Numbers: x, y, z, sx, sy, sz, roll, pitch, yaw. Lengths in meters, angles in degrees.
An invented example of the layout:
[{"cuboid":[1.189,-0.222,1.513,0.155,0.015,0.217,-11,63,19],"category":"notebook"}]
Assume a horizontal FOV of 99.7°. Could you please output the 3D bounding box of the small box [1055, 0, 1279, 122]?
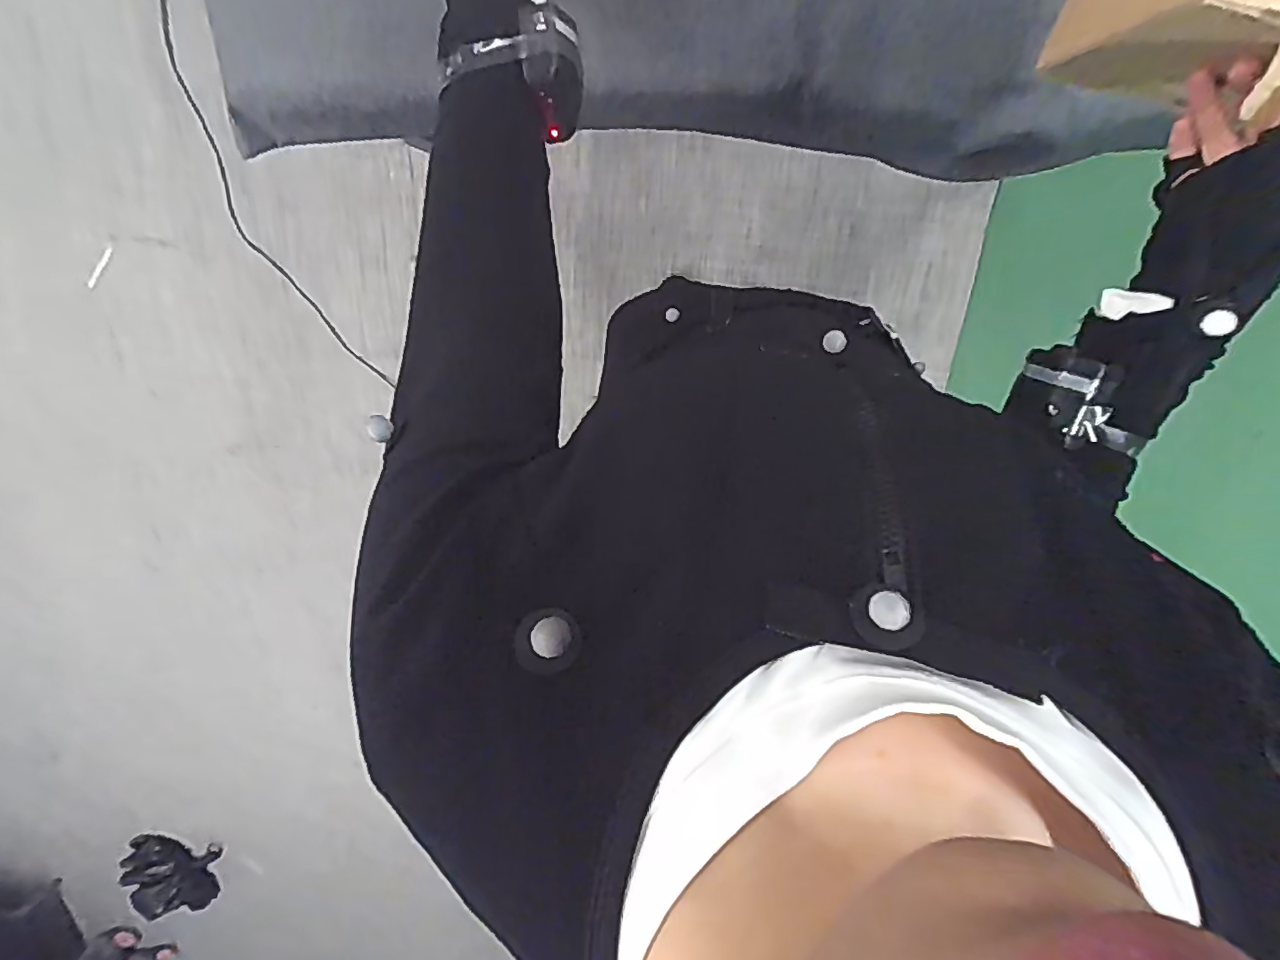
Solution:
[{"cuboid":[0.388,-0.327,0.305,0.168,0.176,0.179,15,118,0],"category":"small box"}]
